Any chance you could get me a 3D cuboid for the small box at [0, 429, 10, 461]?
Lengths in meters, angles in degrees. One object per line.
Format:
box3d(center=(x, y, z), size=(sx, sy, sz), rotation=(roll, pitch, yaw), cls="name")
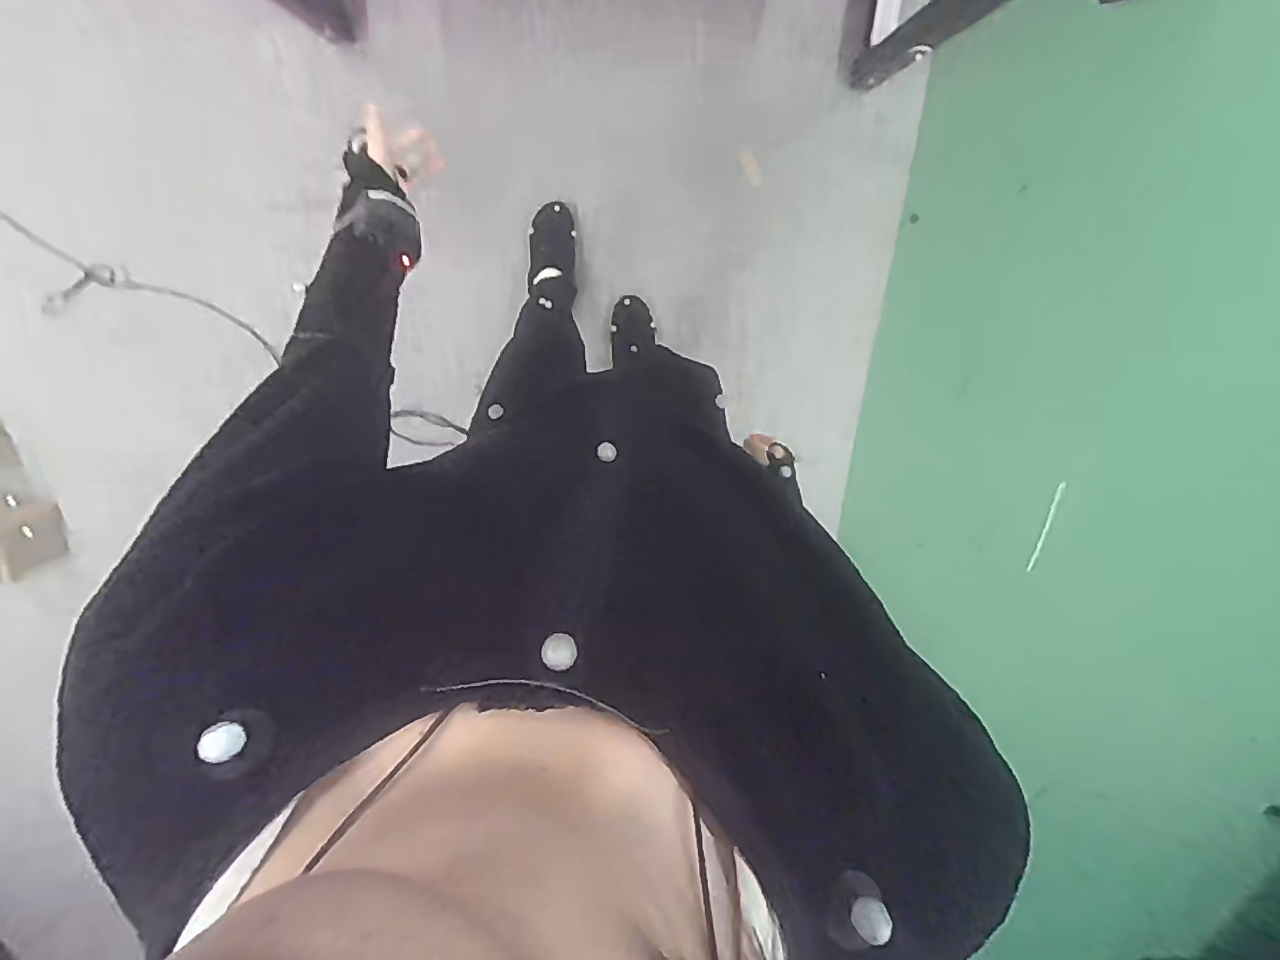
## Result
box3d(center=(-1.782, -0.101, 1.369), size=(0.179, 0.176, 0.168), rotation=(-5, 113, 0), cls="small box")
